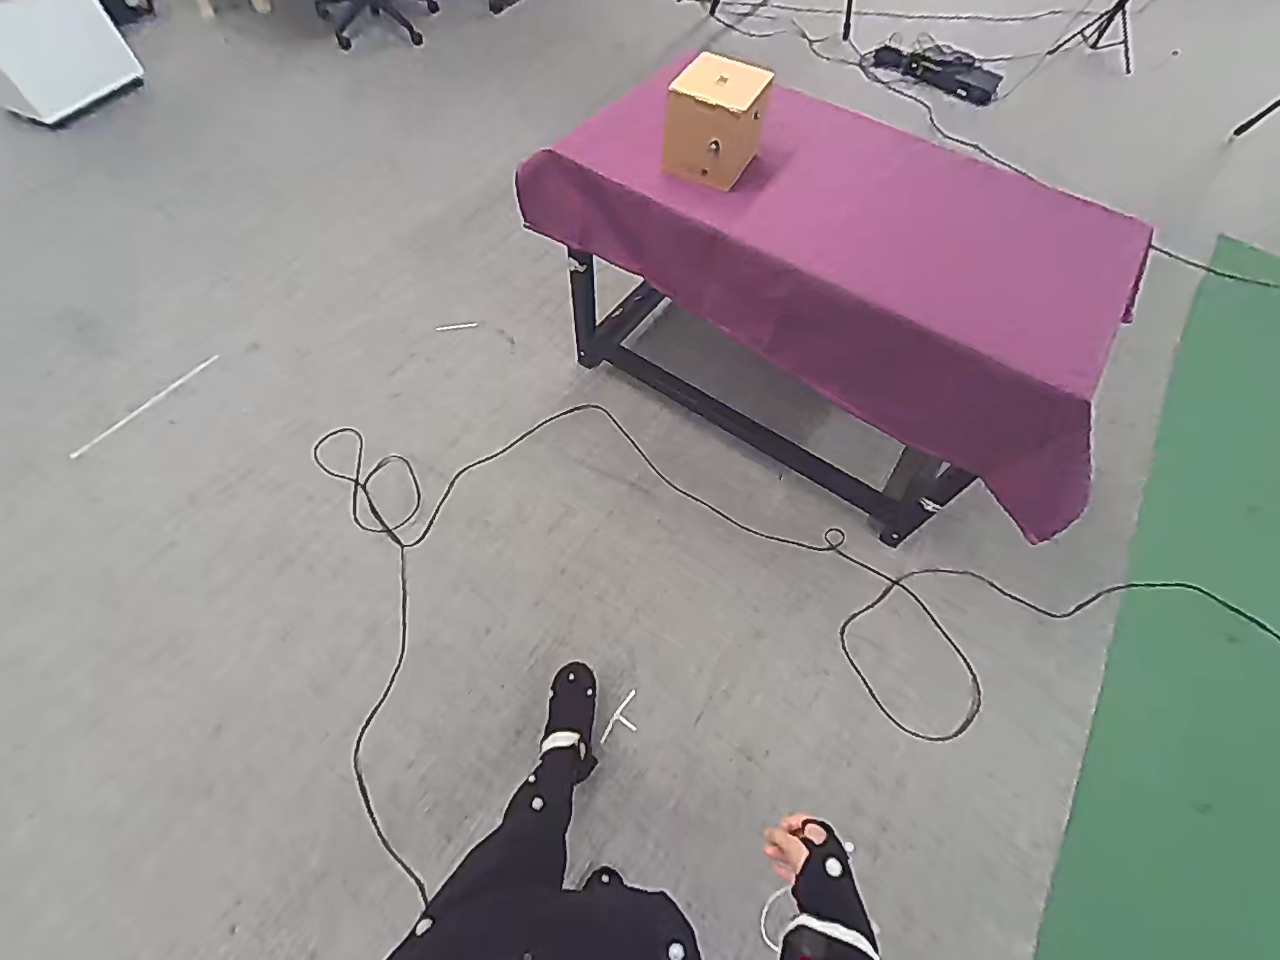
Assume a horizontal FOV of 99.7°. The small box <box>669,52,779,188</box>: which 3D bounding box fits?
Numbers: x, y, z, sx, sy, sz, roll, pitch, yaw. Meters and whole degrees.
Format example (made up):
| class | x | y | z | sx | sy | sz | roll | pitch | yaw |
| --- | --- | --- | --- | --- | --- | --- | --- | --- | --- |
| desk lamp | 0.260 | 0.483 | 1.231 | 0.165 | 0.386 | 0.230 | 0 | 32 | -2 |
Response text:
| class | x | y | z | sx | sy | sz | roll | pitch | yaw |
| --- | --- | --- | --- | --- | --- | --- | --- | --- | --- |
| small box | 0.172 | -0.764 | 1.156 | 0.168 | 0.176 | 0.179 | 27 | 63 | 11 |
